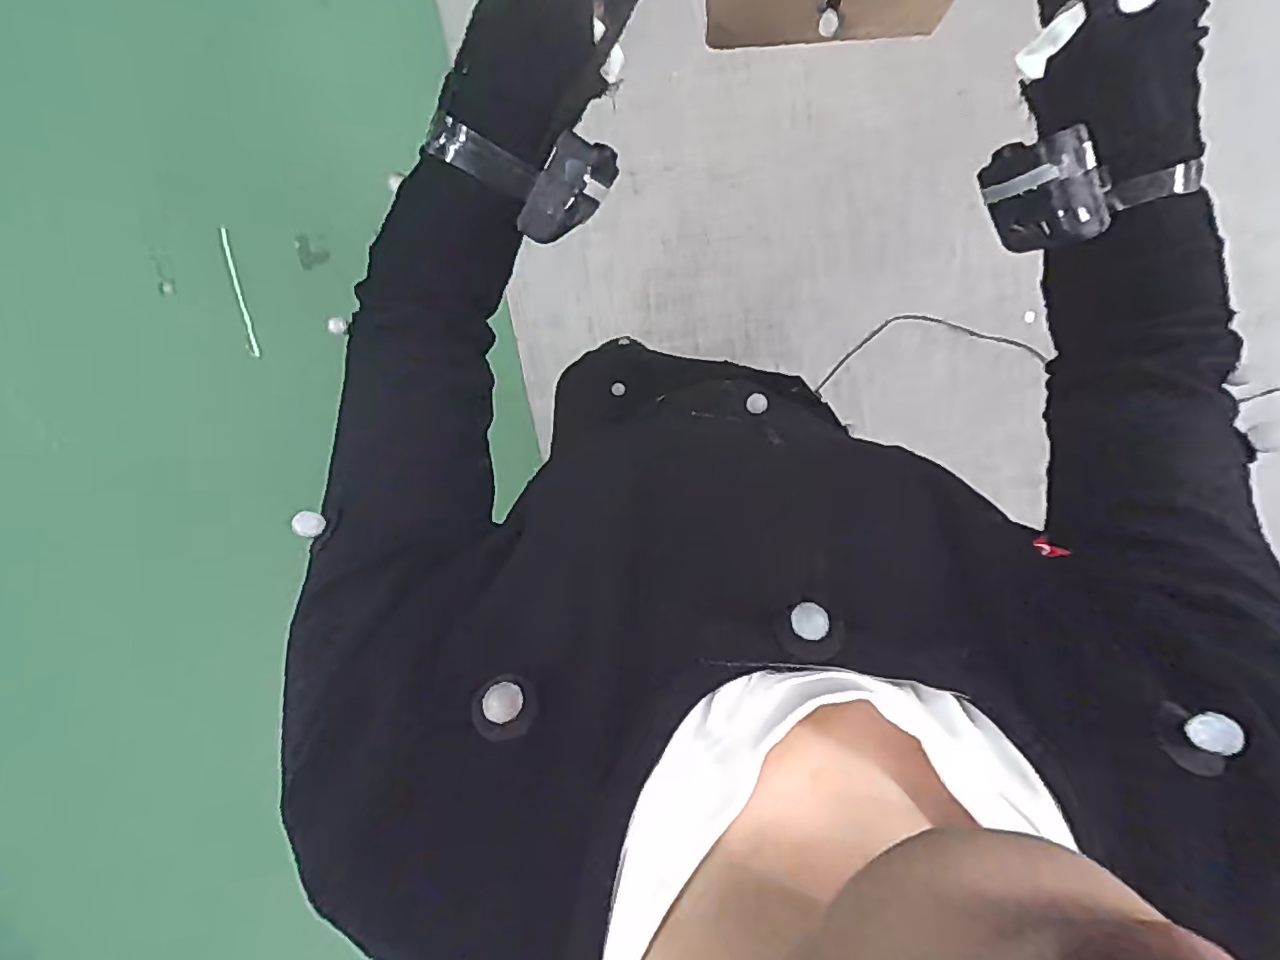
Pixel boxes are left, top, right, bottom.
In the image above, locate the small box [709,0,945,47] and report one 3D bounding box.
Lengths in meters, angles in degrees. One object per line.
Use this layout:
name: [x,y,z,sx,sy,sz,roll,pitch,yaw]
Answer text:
small box: [0.137,-0.416,0.340,0.179,0.176,0.168,1,95,5]
